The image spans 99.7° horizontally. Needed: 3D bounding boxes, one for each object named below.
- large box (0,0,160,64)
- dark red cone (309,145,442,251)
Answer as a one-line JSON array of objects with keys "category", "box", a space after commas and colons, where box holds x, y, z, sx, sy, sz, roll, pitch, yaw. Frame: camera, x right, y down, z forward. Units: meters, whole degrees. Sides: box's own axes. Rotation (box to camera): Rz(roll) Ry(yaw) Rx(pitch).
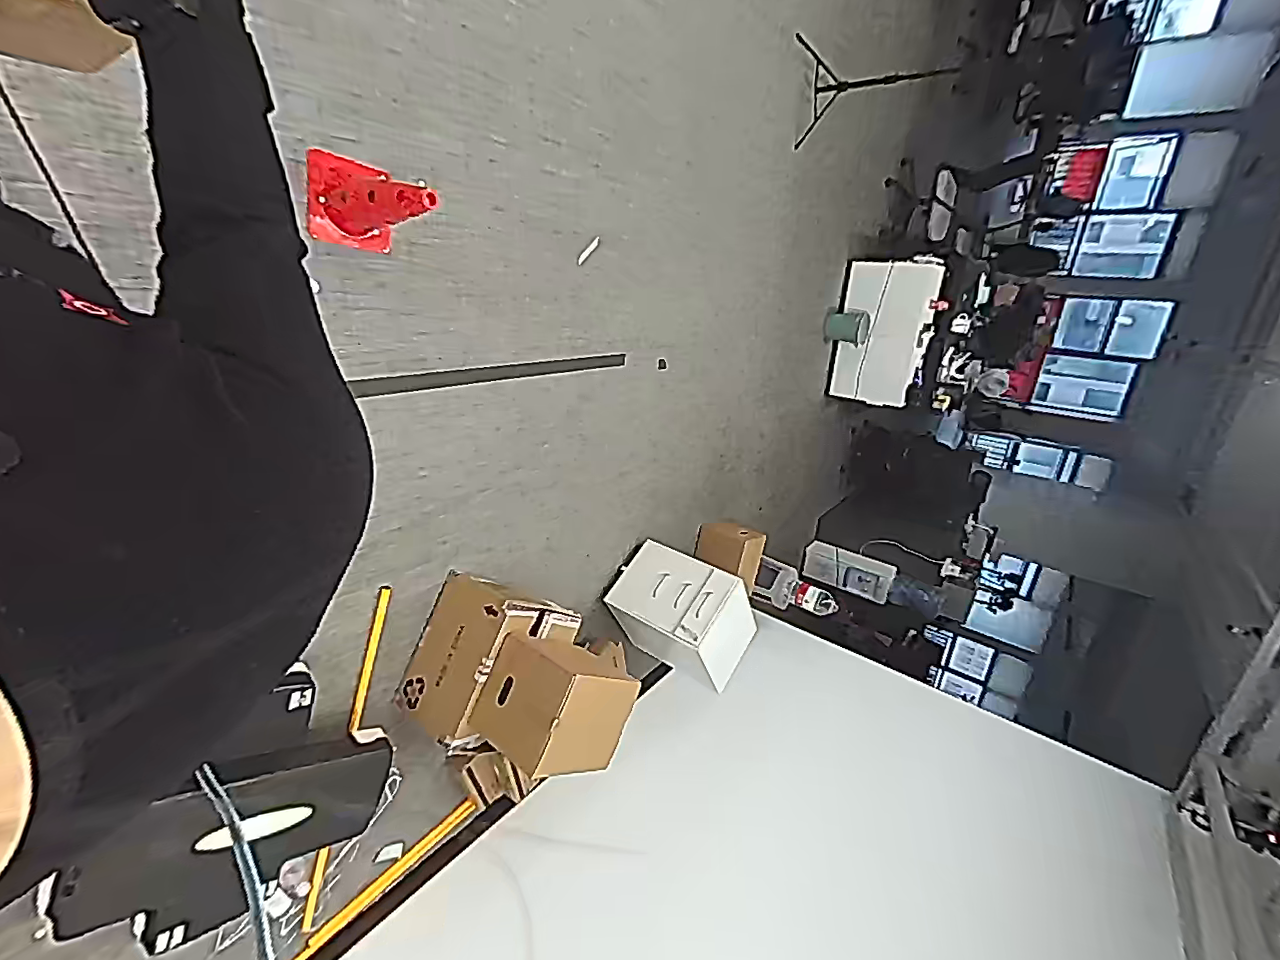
[{"category": "large box", "box": [-0.557, -0.463, 0.259, 0.408, 0.320, 0.320, -19, 124, -47]}, {"category": "dark red cone", "box": [-0.571, -0.634, 1.222, 0.201, 0.394, 0.202, -12, 114, -50]}]
